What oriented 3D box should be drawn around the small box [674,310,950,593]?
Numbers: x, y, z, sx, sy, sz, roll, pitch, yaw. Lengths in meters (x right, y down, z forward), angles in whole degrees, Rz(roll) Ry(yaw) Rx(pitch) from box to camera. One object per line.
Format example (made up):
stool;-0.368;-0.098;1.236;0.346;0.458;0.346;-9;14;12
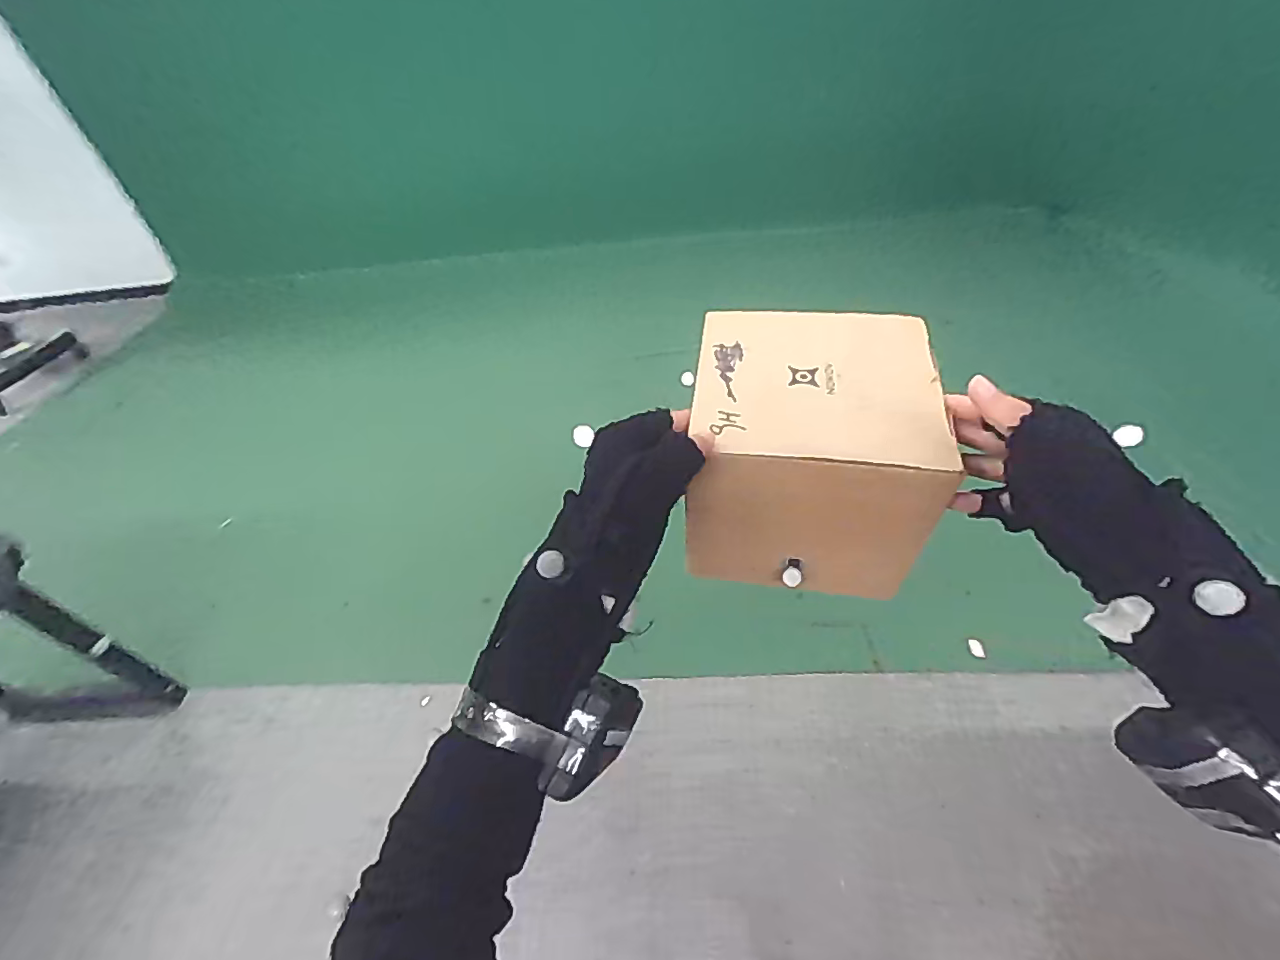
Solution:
small box;0.125;-0.021;0.457;0.179;0.176;0.168;5;49;8
